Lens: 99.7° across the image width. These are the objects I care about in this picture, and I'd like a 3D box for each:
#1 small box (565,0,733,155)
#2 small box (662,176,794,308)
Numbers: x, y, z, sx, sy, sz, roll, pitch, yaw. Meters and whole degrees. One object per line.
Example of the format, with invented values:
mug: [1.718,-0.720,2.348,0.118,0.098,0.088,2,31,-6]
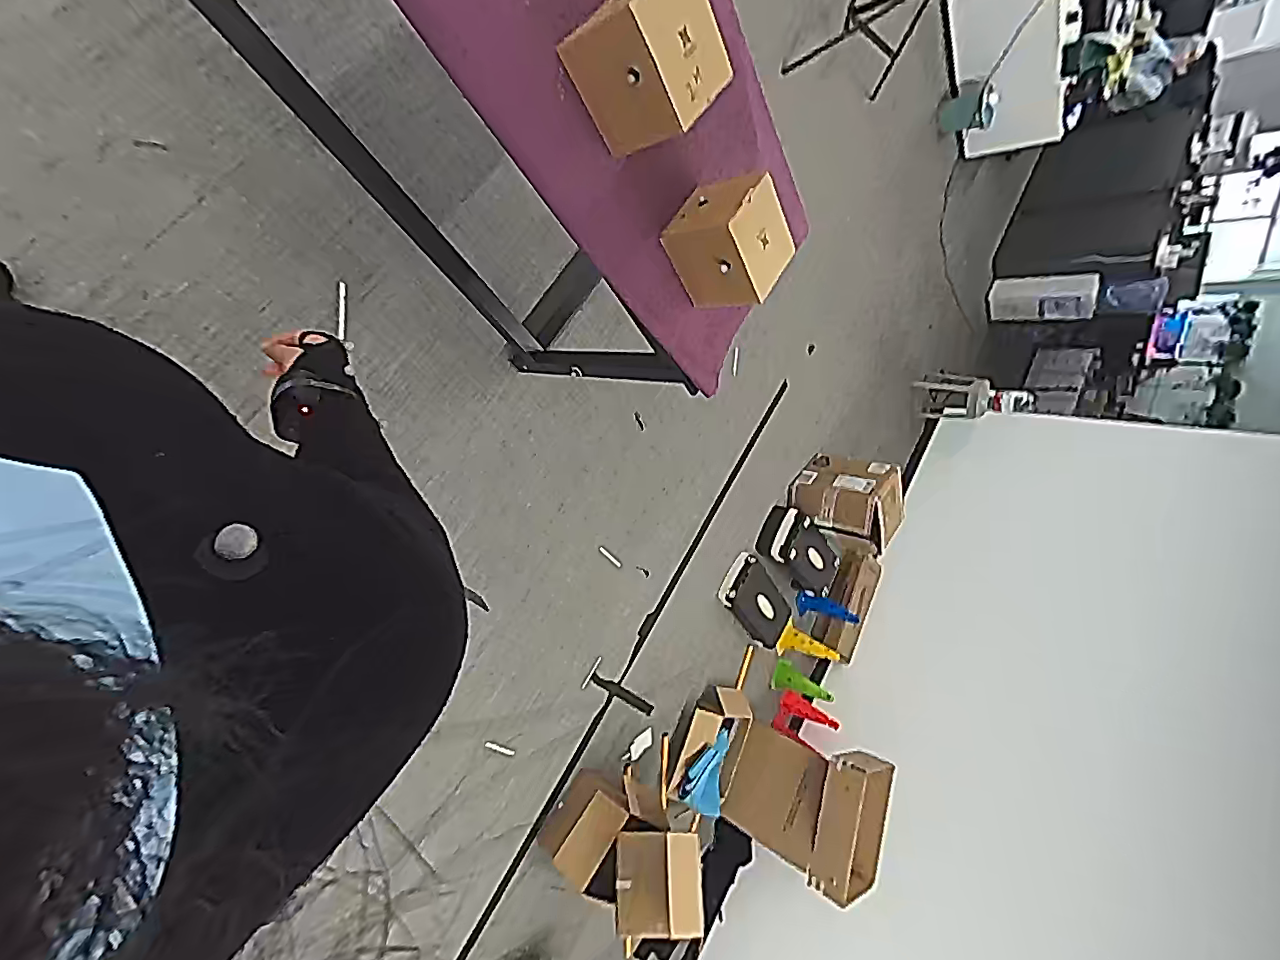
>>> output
small box: [0.013,-0.659,0.859,0.168,0.176,0.179,-55,134,-19]
small box: [0.176,-0.466,1.080,0.168,0.176,0.179,-56,133,-20]
